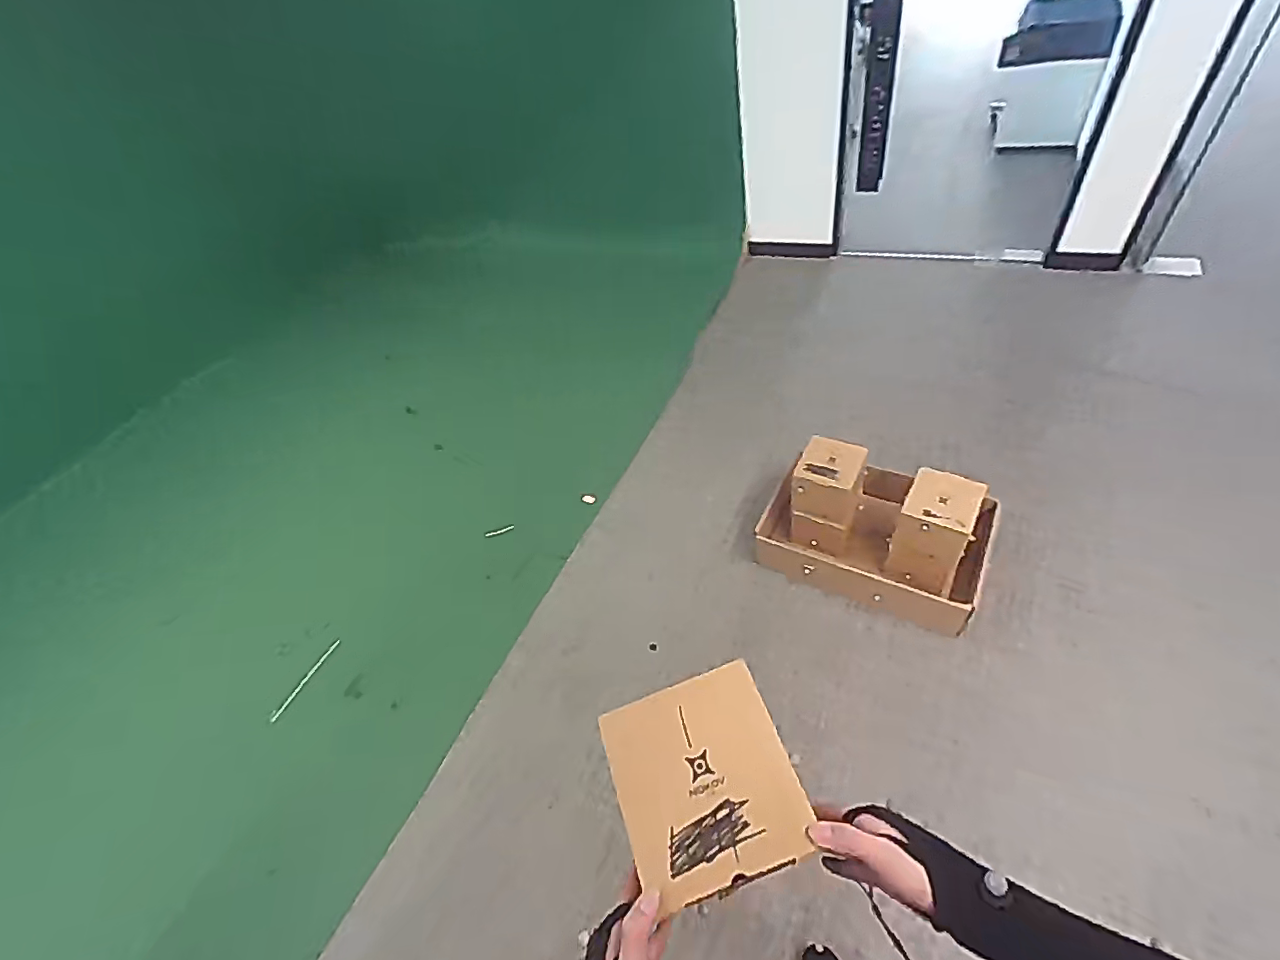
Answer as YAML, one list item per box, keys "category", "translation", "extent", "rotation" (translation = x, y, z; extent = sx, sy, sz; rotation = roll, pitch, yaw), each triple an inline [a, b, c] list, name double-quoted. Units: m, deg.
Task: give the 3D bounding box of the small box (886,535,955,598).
- category: "small box"
  translation: [0.835, 0.210, 1.583]
  extent: [0.168, 0.176, 0.179]
  rotation: [19, 58, 29]

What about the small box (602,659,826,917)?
- category: "small box"
  translation: [0.076, 0.321, 0.570]
  extent: [0.168, 0.176, 0.179]
  rotation: [-21, 52, -2]

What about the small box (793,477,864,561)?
- category: "small box"
  translation: [0.594, 0.124, 1.722]
  extent: [0.168, 0.176, 0.179]
  rotation: [19, 56, 28]

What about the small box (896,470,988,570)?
- category: "small box"
  translation: [0.806, 0.108, 1.456]
  extent: [0.168, 0.176, 0.179]
  rotation: [21, 58, 30]
